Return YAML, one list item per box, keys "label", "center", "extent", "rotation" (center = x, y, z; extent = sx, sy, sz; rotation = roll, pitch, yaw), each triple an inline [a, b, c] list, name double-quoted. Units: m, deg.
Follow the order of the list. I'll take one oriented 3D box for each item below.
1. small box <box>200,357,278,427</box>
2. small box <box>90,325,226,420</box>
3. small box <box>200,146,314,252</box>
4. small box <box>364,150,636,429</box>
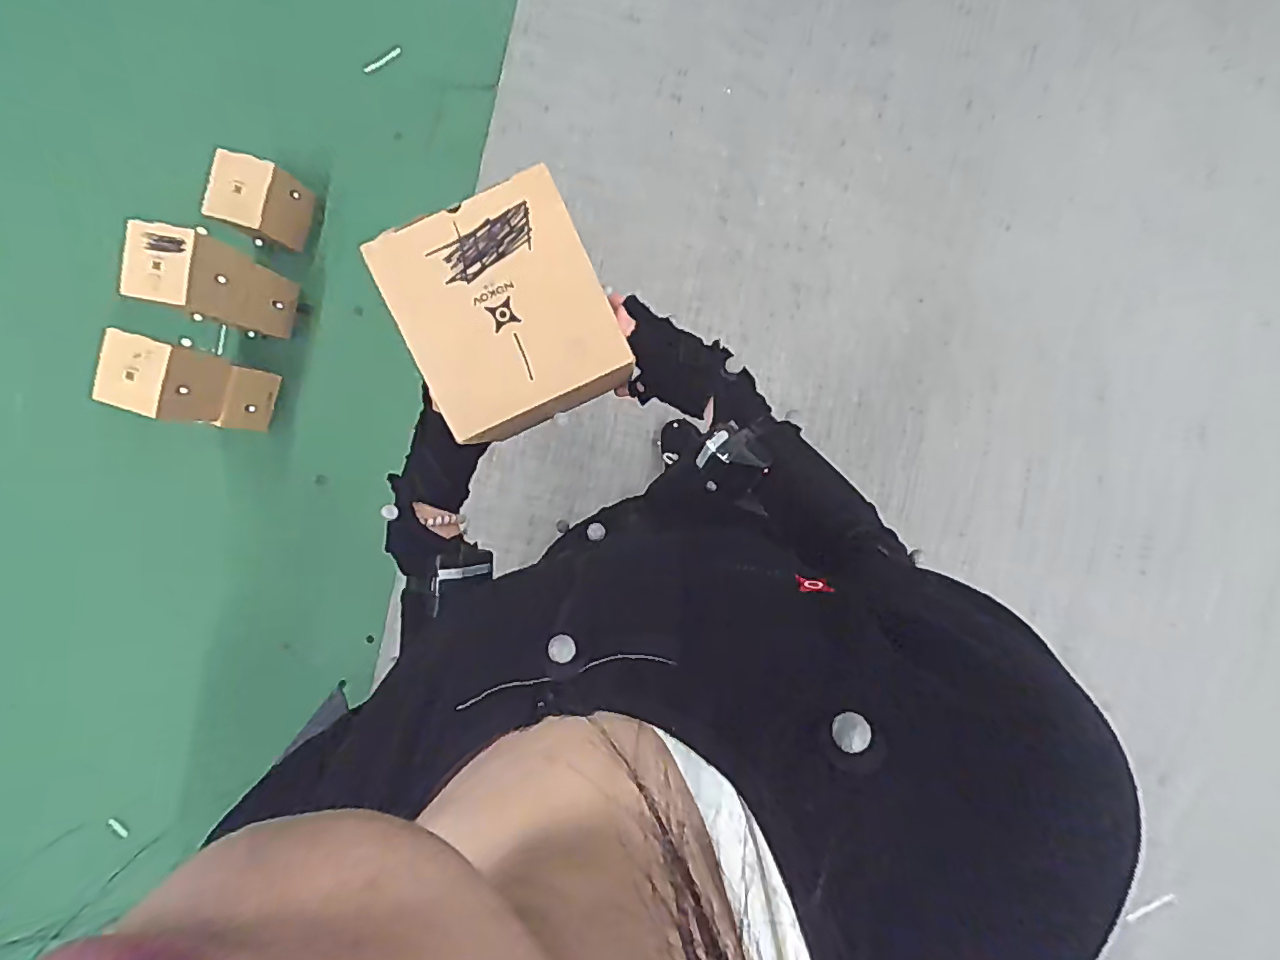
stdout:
- label: "small box"
  center: [-1.142, -0.246, 1.479]
  extent: [0.179, 0.176, 0.168]
  rotation: [19, 93, 4]
- label: "small box"
  center: [-1.161, -0.252, 1.315]
  extent: [0.168, 0.176, 0.179]
  rotation: [18, 93, 3]
- label: "small box"
  center: [-1.021, -0.748, 1.456]
  extent: [0.168, 0.176, 0.179]
  rotation: [17, 93, 4]
- label: "small box"
  center: [-0.115, -0.158, 0.513]
  extent: [0.168, 0.176, 0.179]
  rotation: [-25, 95, 0]
